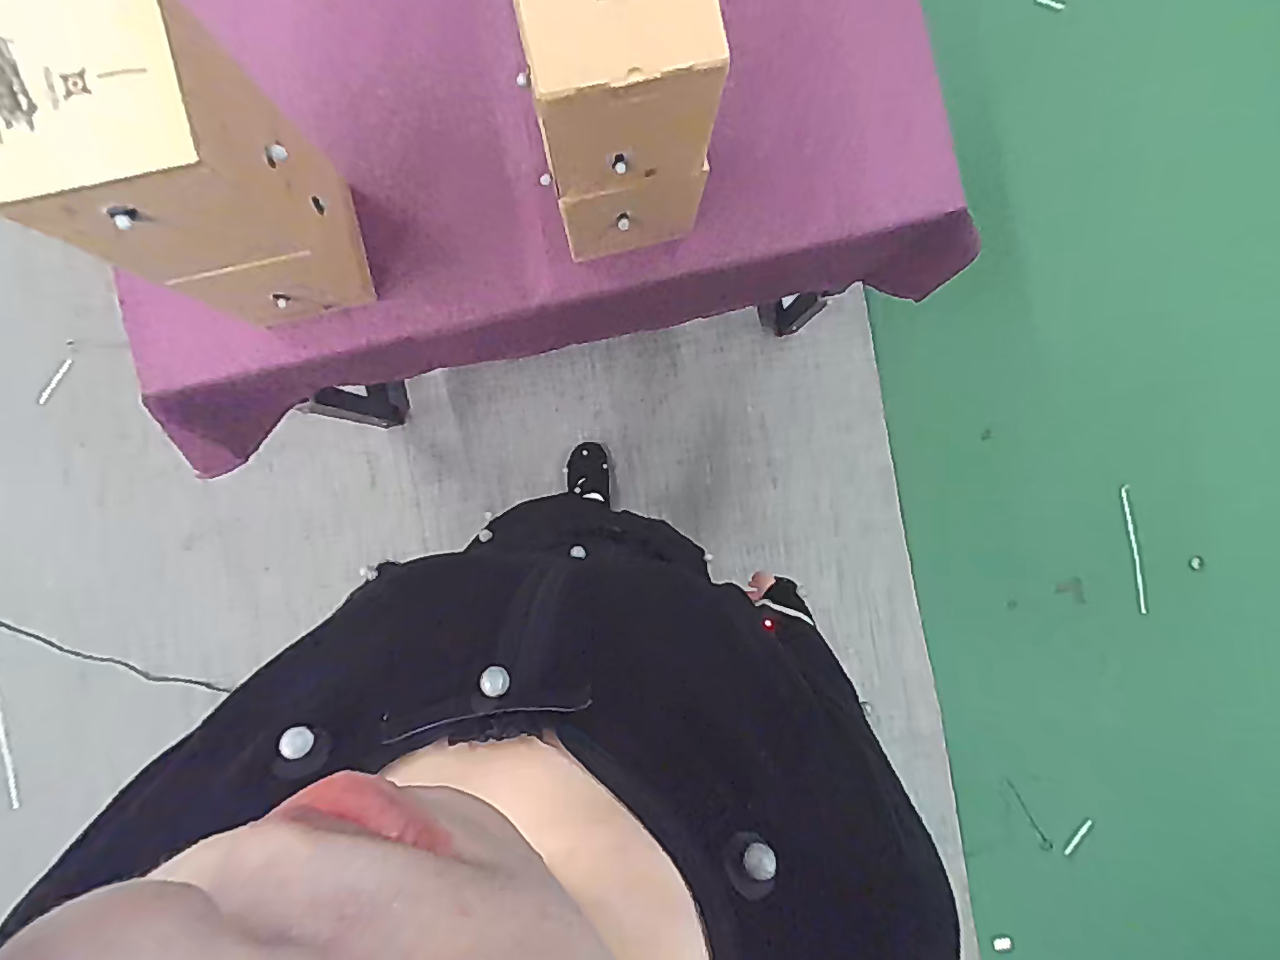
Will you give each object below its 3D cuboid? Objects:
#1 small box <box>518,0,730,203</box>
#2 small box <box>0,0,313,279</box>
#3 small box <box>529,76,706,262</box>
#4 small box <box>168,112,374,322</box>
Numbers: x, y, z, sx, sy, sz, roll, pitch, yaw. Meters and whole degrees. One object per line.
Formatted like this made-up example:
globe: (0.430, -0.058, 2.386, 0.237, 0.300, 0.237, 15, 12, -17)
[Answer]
small box: (-0.024, -0.412, 0.533, 0.168, 0.176, 0.179, -13, 90, -2)
small box: (-0.458, -0.312, 0.515, 0.179, 0.176, 0.168, -14, 90, -3)
small box: (-0.025, -0.404, 0.696, 0.179, 0.176, 0.168, -14, 90, -1)
small box: (-0.463, -0.312, 0.680, 0.168, 0.176, 0.179, -13, 90, -3)
